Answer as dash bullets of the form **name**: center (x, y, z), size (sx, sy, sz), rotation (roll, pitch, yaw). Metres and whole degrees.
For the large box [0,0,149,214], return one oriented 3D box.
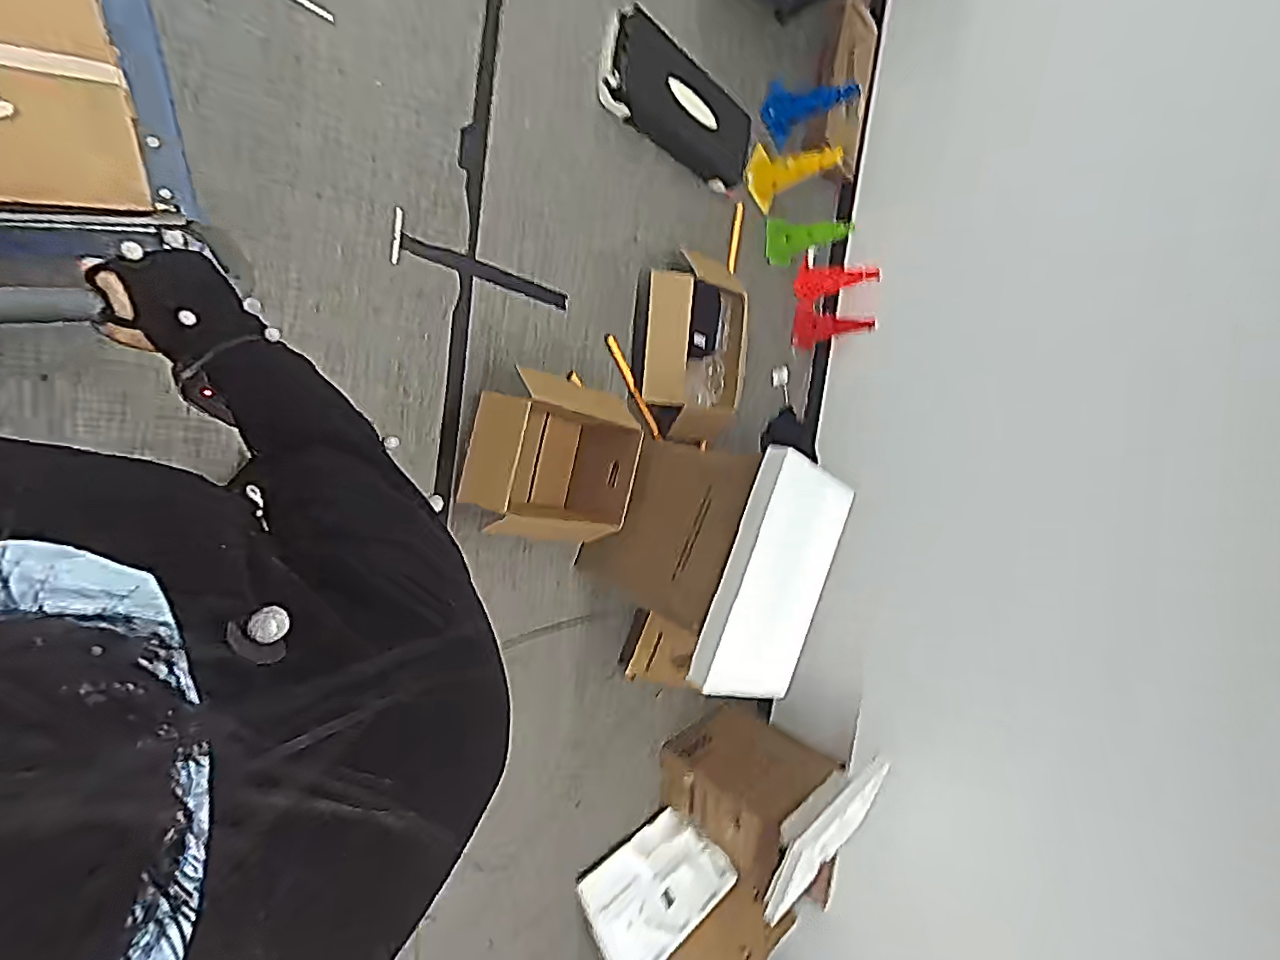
- **large box**: center (-0.913, -0.505, 0.652), size (0.408, 0.320, 0.320), rotation (-18, 122, -41)
